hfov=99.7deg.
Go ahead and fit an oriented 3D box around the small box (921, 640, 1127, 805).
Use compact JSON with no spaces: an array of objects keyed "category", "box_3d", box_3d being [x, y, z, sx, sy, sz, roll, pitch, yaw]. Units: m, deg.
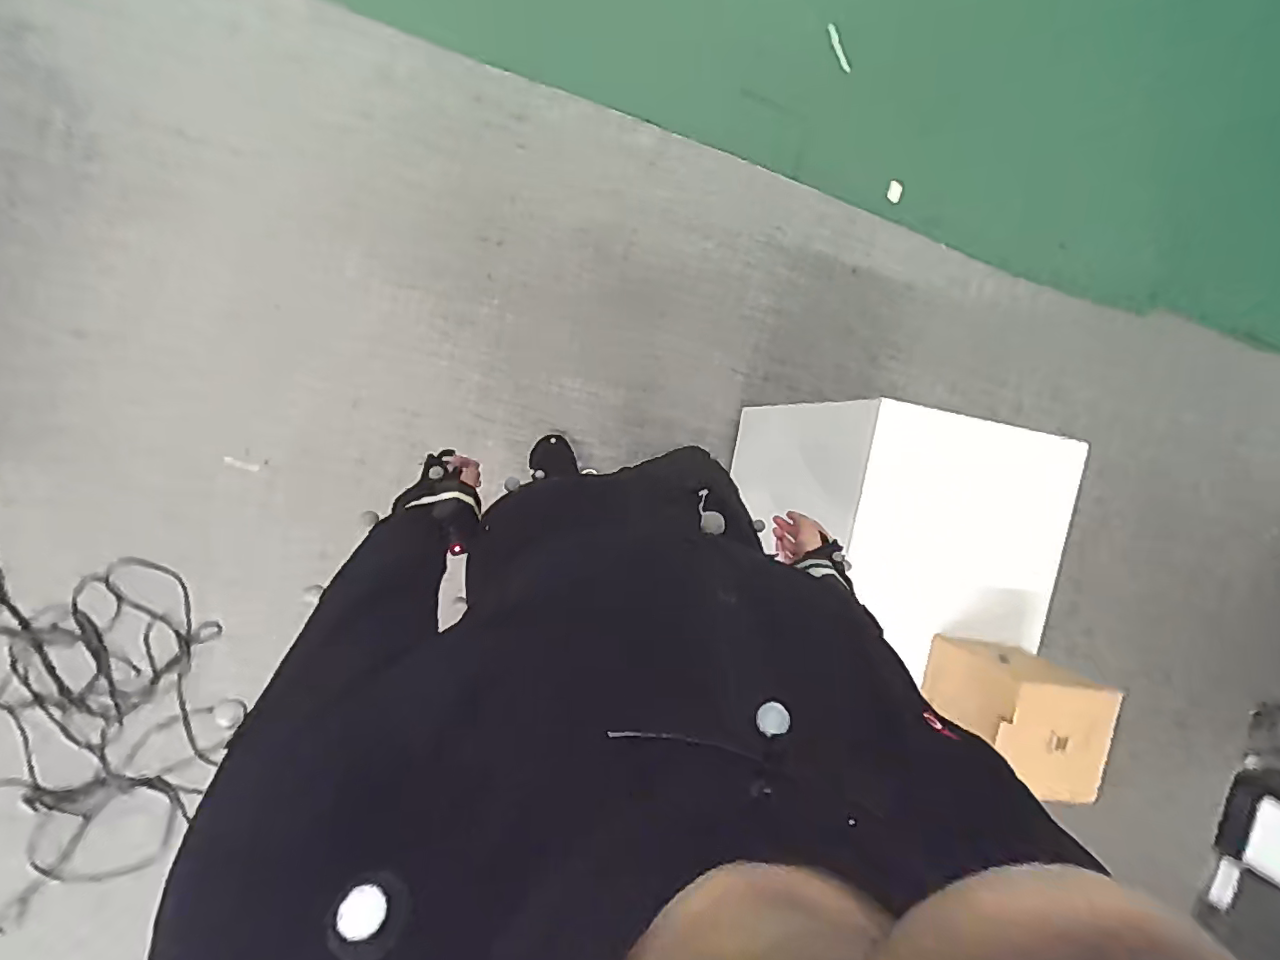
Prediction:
[{"category":"small box","box_3d":[0.564,0.355,0.817,0.179,0.176,0.168,10,94,-12]}]
